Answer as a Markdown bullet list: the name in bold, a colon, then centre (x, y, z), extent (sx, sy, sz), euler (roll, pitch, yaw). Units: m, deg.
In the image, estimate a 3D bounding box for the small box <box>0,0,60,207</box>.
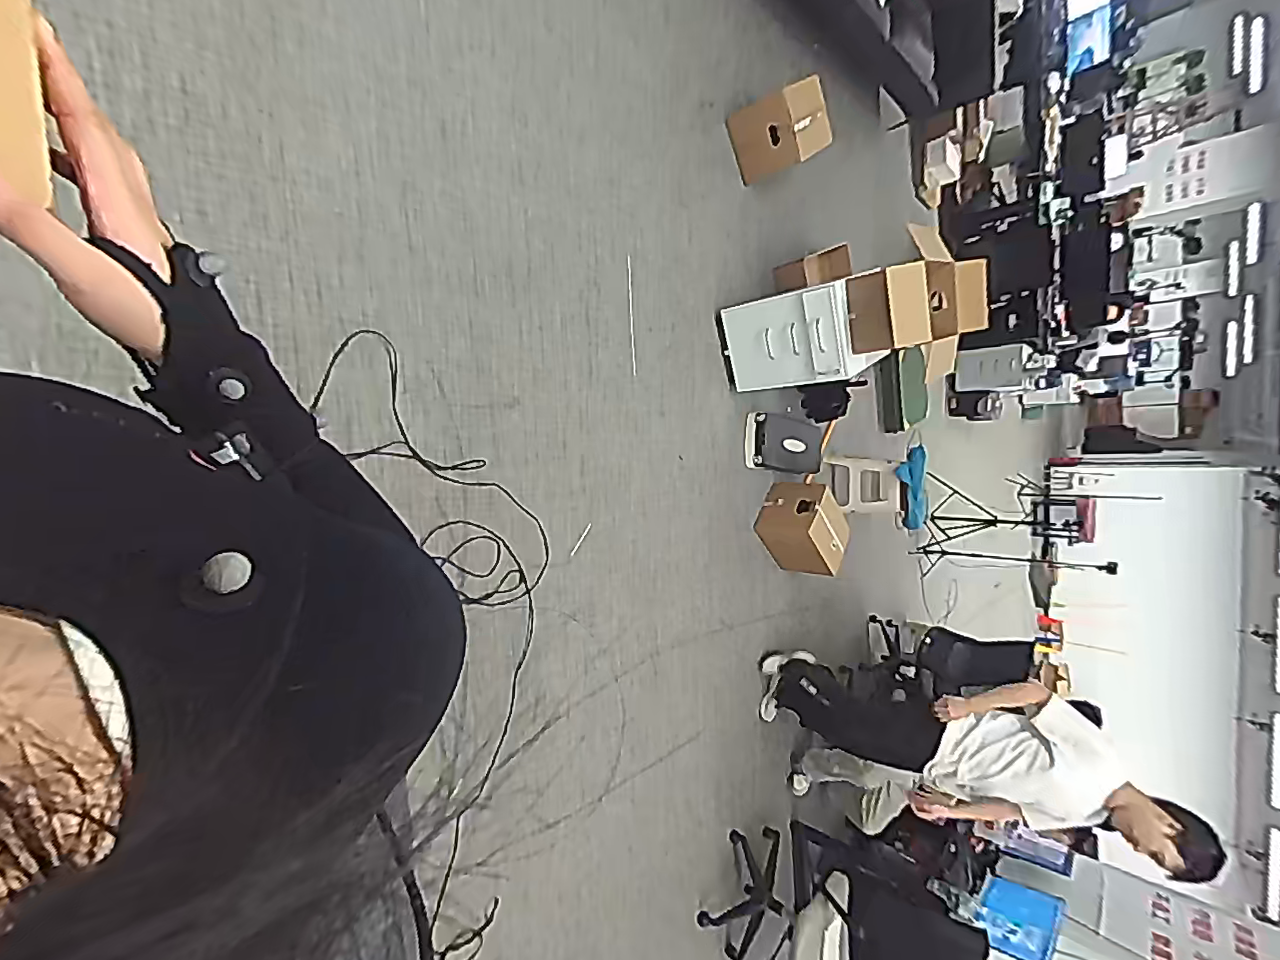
- **small box**: centre (-0.377, -0.231, 0.227), extent (0.168, 0.176, 0.179), euler (-10, 115, -49)
